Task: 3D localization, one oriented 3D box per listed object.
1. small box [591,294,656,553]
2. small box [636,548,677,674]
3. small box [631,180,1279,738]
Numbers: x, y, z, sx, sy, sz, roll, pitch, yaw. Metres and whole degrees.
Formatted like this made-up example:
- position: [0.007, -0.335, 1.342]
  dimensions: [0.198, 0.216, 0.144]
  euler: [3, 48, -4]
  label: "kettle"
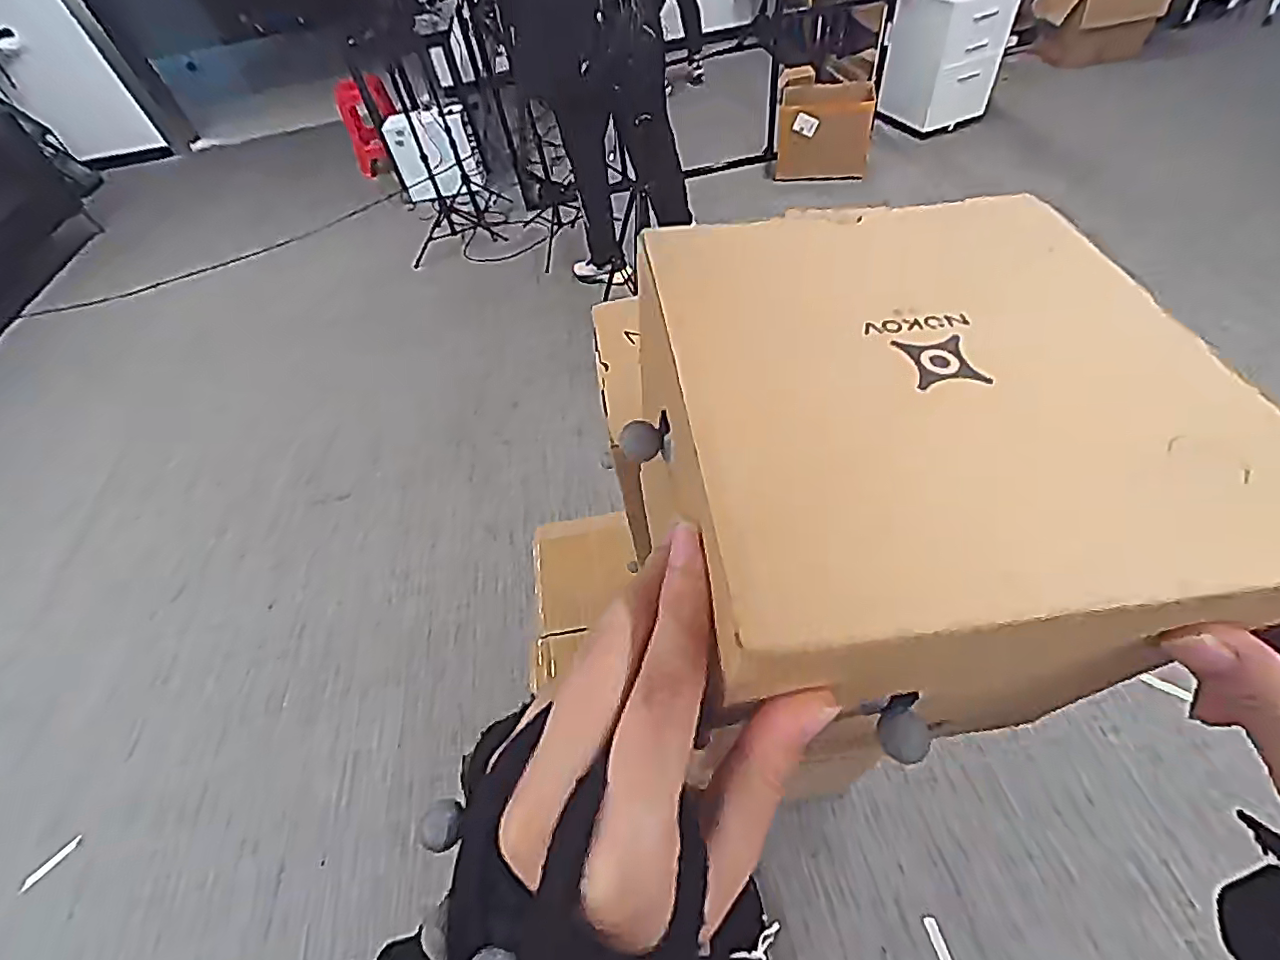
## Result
- position: [0.061, -0.055, 0.481]
  dimensions: [0.179, 0.176, 0.168]
  euler: [-11, 52, 1]
  label: "small box"
- position: [0.095, 0.150, 0.737]
  dimensions: [0.179, 0.176, 0.168]
  euler: [-10, 51, 0]
  label: "small box"
- position: [0.090, 0.001, 0.238]
  dimensions: [0.168, 0.176, 0.179]
  euler: [-7, 53, -3]
  label: "small box"
